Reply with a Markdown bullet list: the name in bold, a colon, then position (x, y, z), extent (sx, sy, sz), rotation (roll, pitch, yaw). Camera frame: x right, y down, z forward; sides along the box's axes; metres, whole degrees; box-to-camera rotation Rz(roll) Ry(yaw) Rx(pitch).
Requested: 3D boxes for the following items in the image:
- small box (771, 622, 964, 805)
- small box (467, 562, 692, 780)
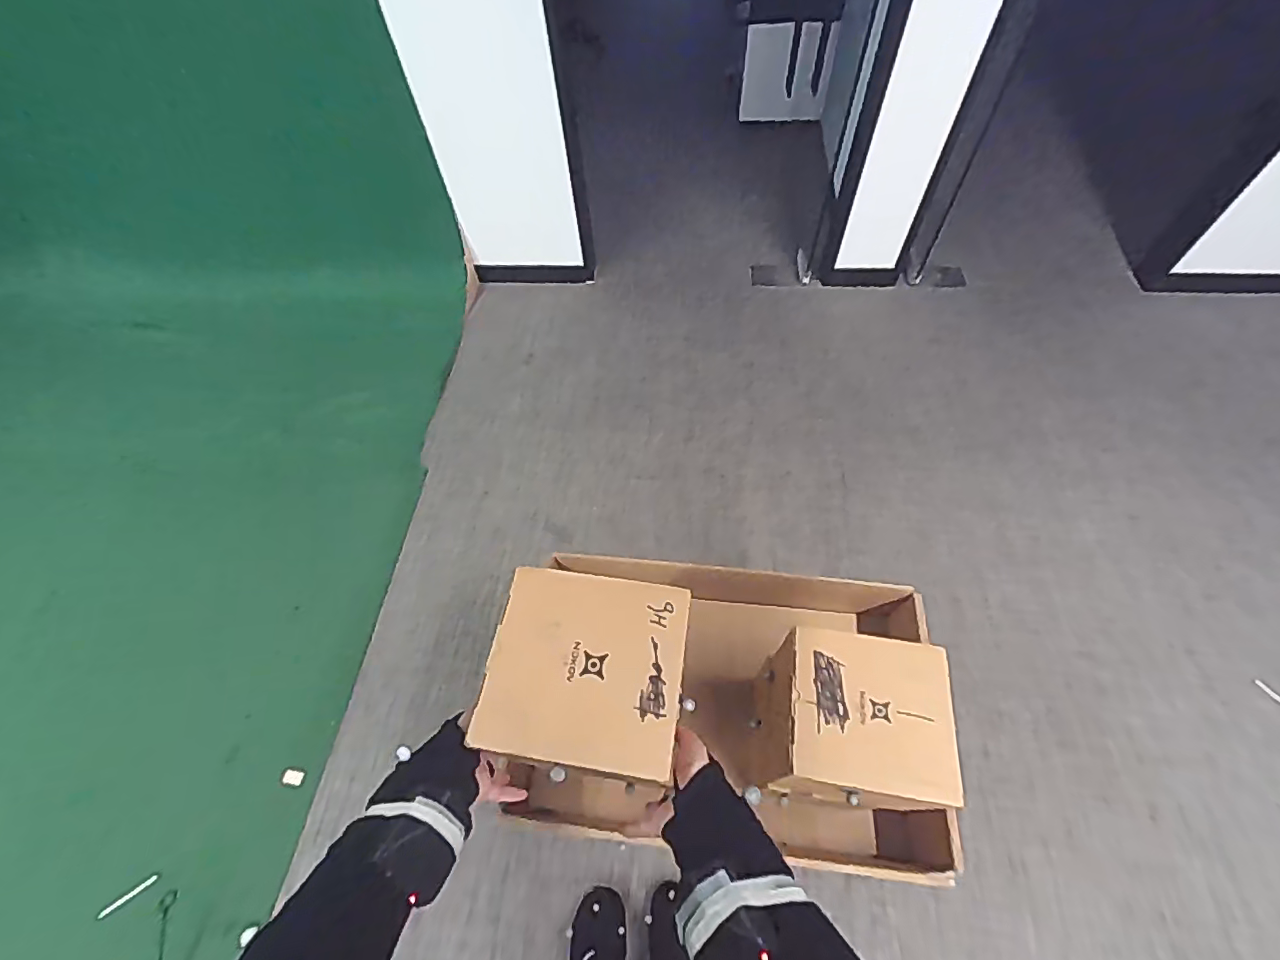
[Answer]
- **small box**: position (0.262, 0.292, 0.666), extent (0.179, 0.176, 0.168), rotation (7, 59, 7)
- **small box**: position (-0.044, 0.200, 0.553), extent (0.179, 0.176, 0.168), rotation (7, 60, 8)
